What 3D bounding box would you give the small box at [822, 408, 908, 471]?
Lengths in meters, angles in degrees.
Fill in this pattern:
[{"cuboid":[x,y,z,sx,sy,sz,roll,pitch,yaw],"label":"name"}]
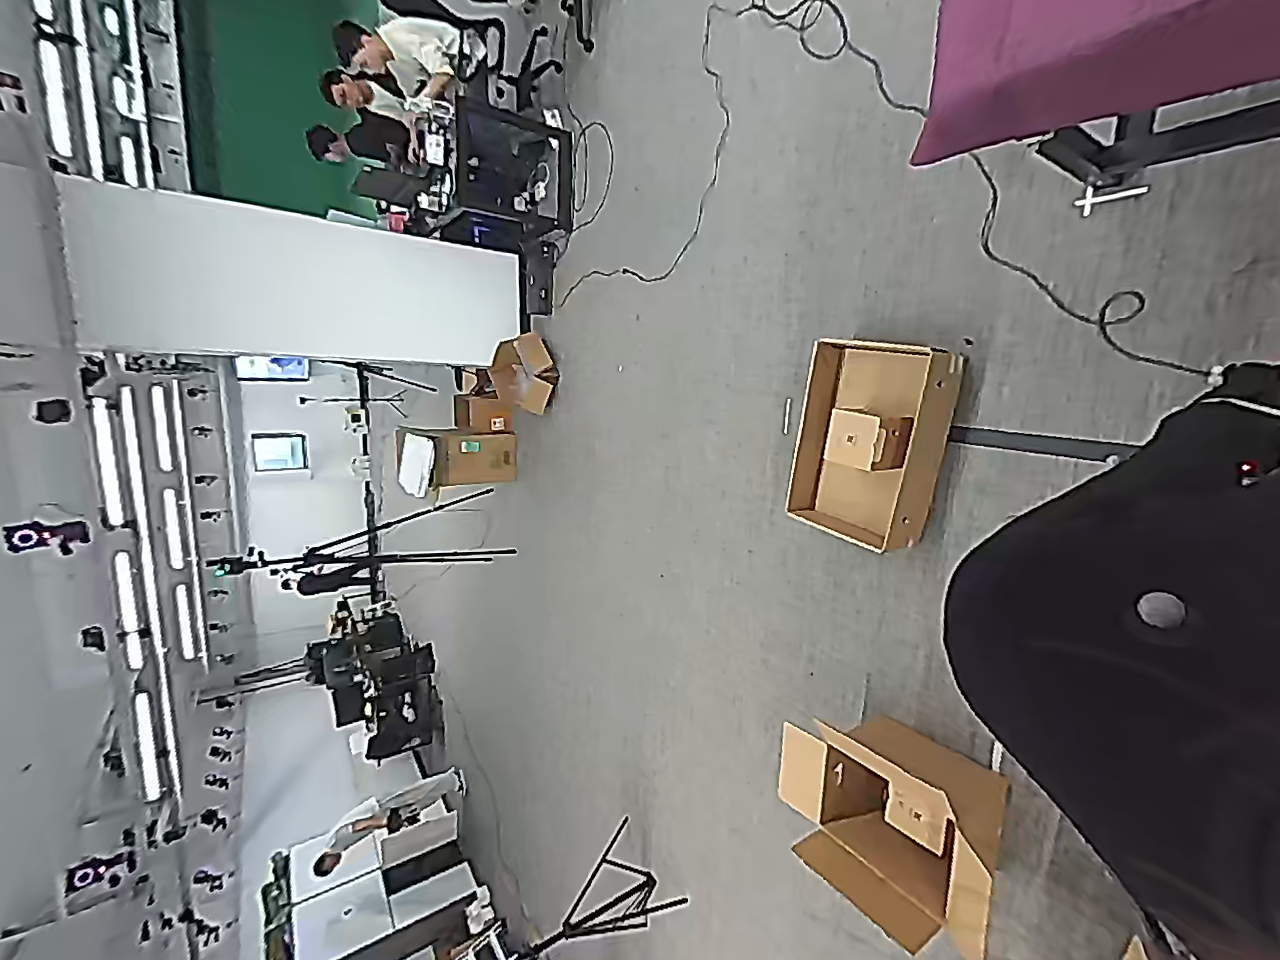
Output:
[{"cuboid":[0.711,-0.134,1.703,0.179,0.176,0.168,26,115,52],"label":"small box"}]
